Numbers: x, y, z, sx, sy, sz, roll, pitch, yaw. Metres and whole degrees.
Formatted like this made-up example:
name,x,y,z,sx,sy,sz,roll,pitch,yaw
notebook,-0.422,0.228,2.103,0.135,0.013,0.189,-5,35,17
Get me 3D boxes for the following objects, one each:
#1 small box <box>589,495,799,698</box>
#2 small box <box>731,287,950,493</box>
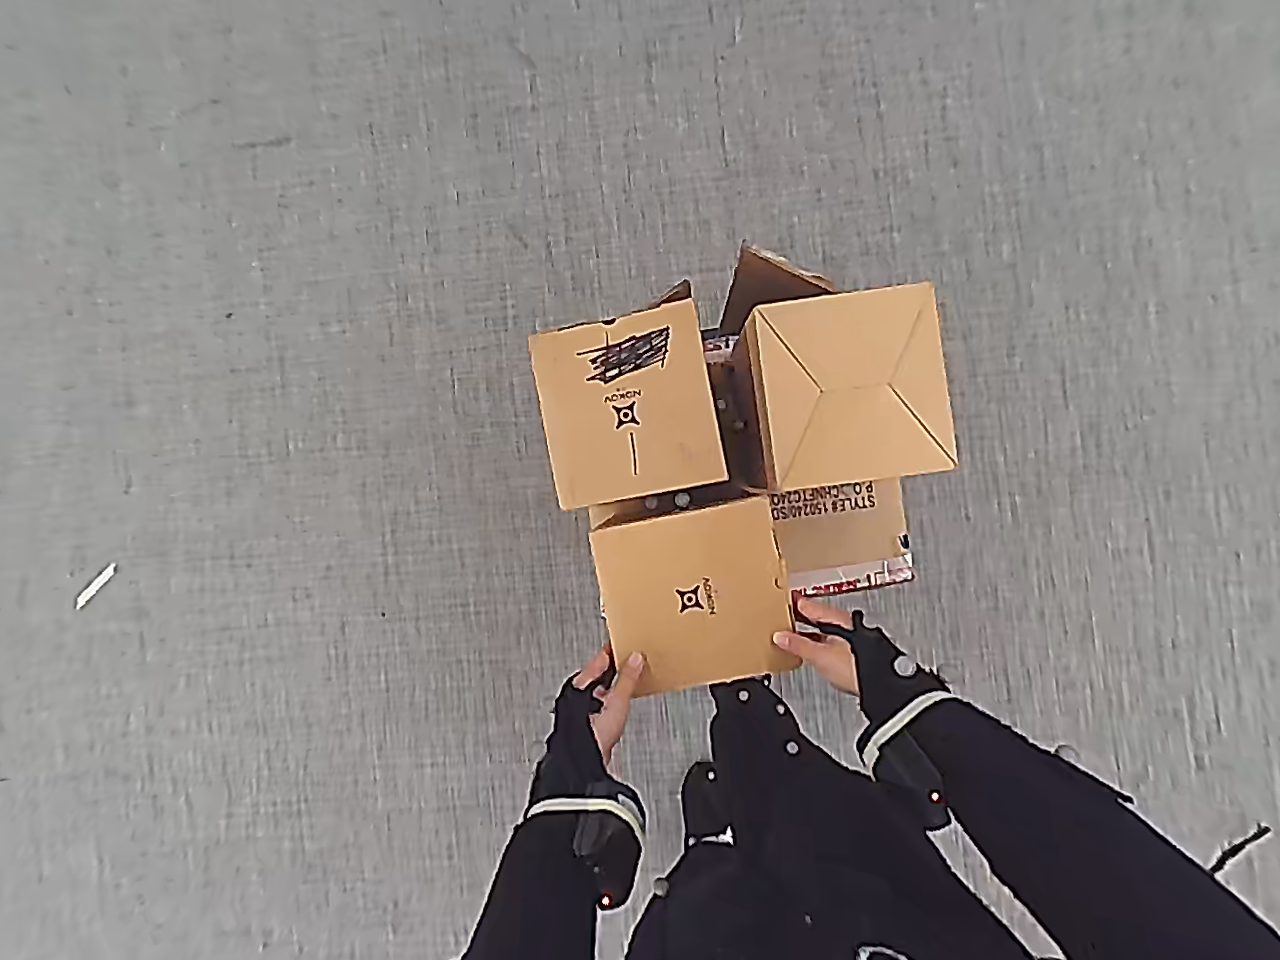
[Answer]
name,x,y,z,sx,sy,sz,roll,pitch,yaw
small box,0.055,0.113,0.590,0.179,0.176,0.168,-12,90,3
small box,0.200,-0.081,0.577,0.168,0.176,0.179,-8,89,1
